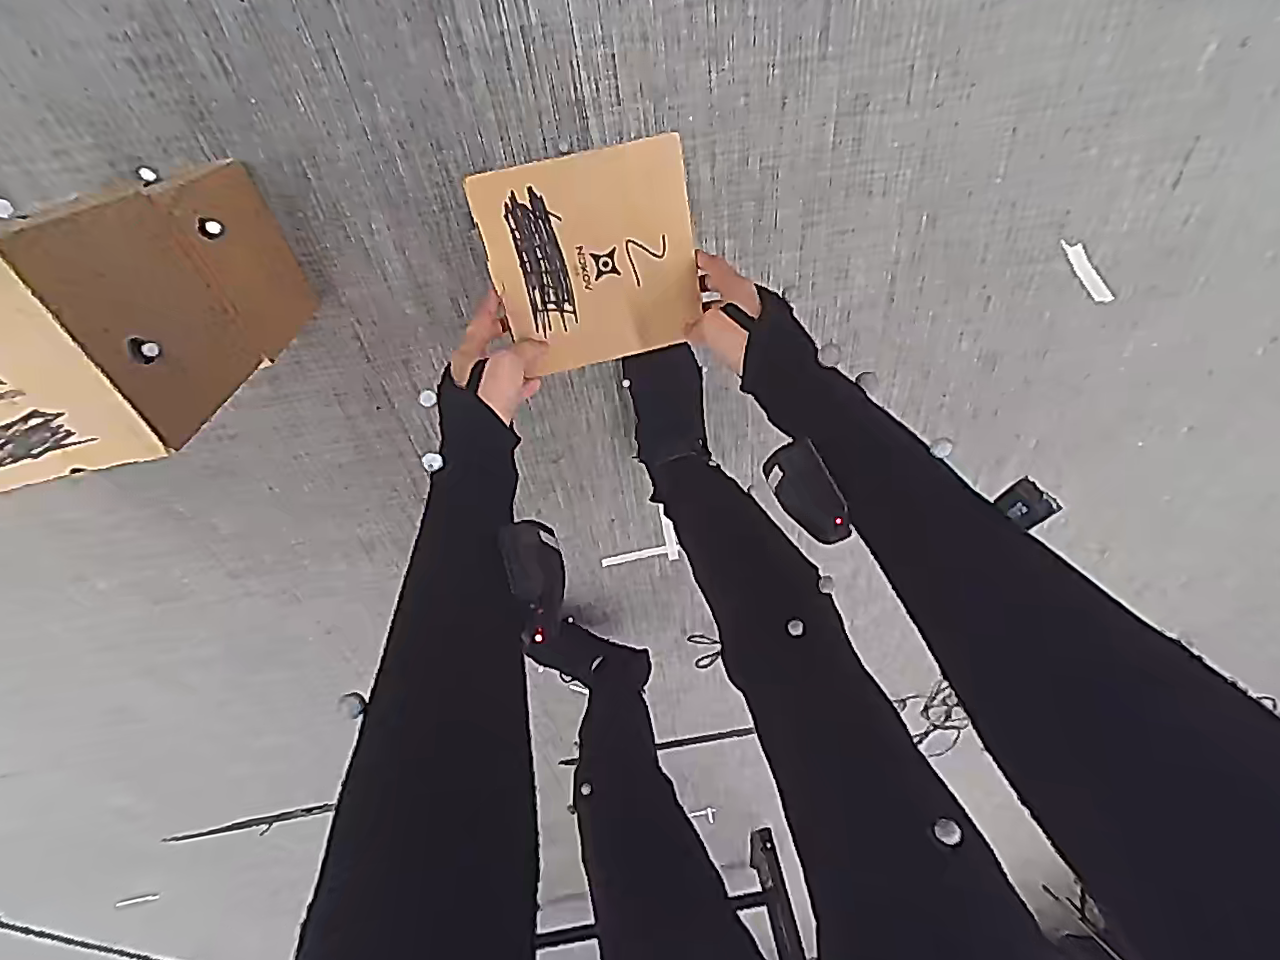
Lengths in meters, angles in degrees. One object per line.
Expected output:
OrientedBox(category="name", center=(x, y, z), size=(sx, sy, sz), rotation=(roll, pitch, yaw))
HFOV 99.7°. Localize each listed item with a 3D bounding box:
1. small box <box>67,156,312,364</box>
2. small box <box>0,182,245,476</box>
OrientedBox(category="small box", center=(-0.505, -0.232, 0.596), size=(0.168, 0.176, 0.179), rotation=(-12, 129, 1))
OrientedBox(category="small box", center=(-0.496, -0.132, 0.465), size=(0.168, 0.176, 0.179), rotation=(-12, 128, 0))
